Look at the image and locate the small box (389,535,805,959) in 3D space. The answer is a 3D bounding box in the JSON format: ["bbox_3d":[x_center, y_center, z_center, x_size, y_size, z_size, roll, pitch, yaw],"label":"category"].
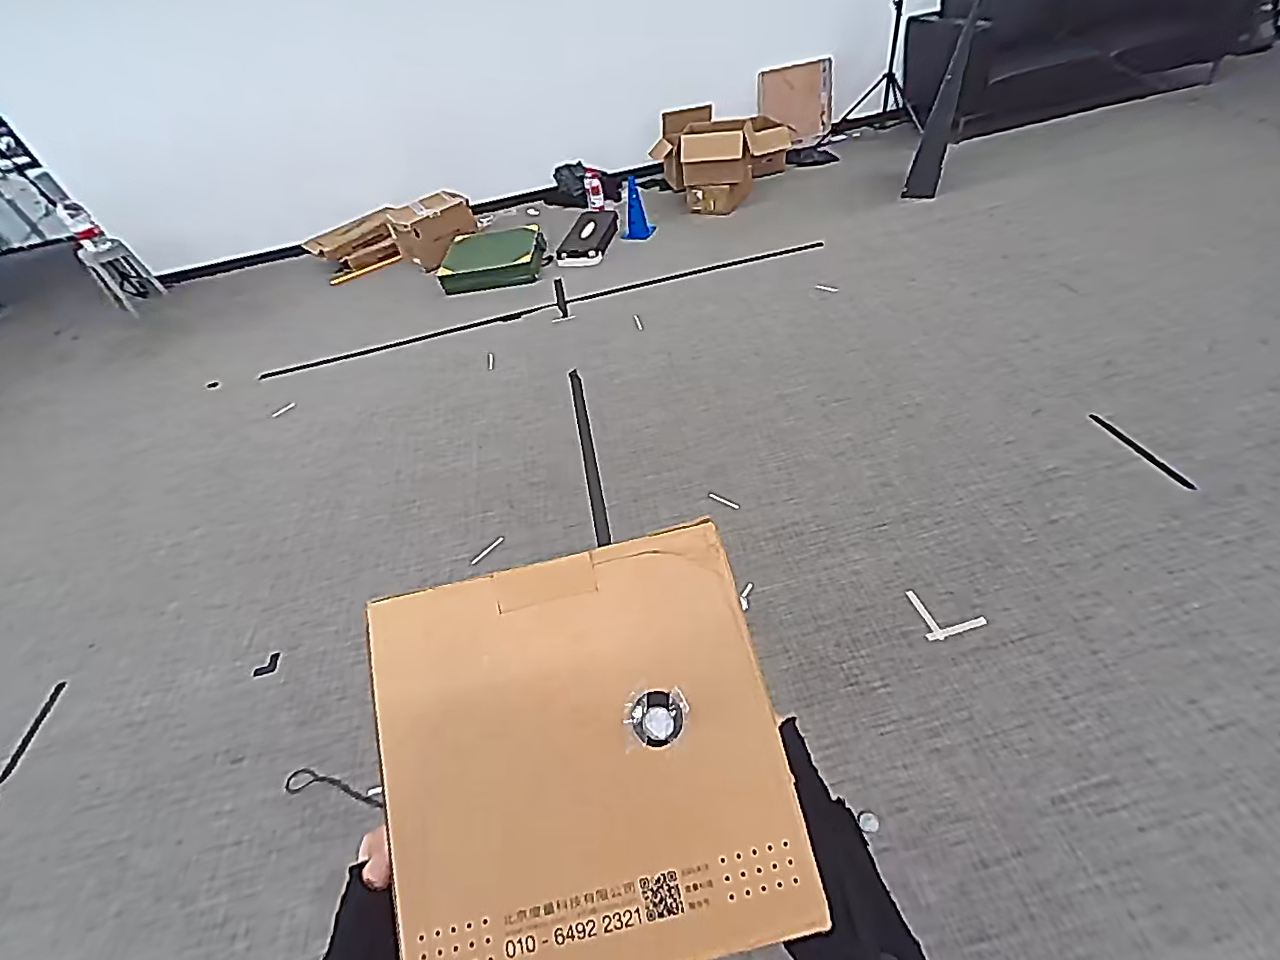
[{"bbox_3d":[-0.019,0.144,0.321,0.168,0.179,0.176,-13,75,0],"label":"small box"}]
